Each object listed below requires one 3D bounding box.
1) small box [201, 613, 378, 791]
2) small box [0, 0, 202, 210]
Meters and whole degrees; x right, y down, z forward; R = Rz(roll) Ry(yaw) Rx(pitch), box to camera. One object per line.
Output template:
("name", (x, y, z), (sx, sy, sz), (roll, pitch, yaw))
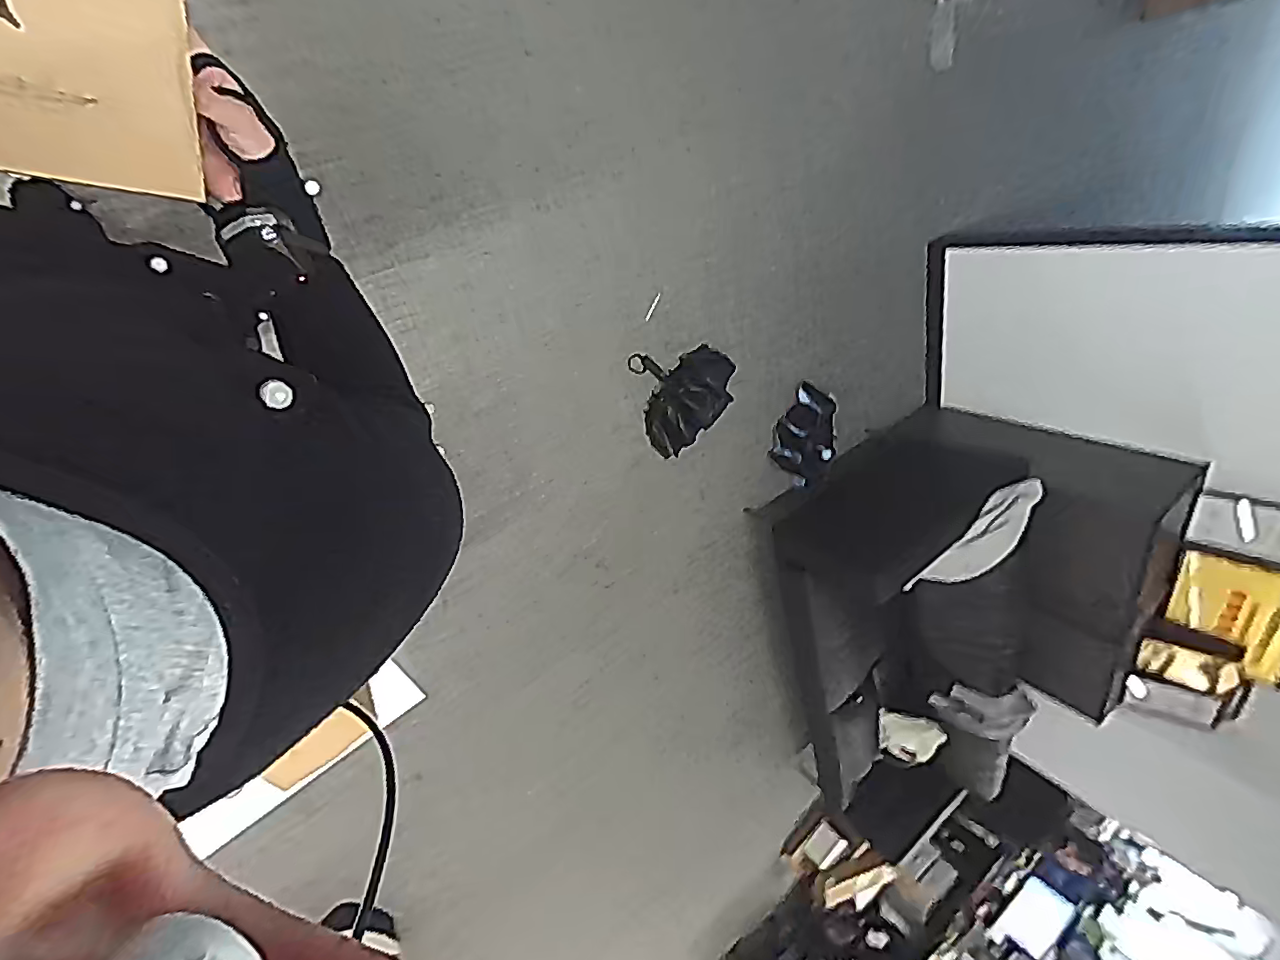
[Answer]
("small box", (-0.563, 0.353, 0.884), (0.168, 0.176, 0.179), (-35, 126, -17))
("small box", (-0.382, -0.280, 0.315), (0.168, 0.176, 0.179), (-12, 127, -42))
